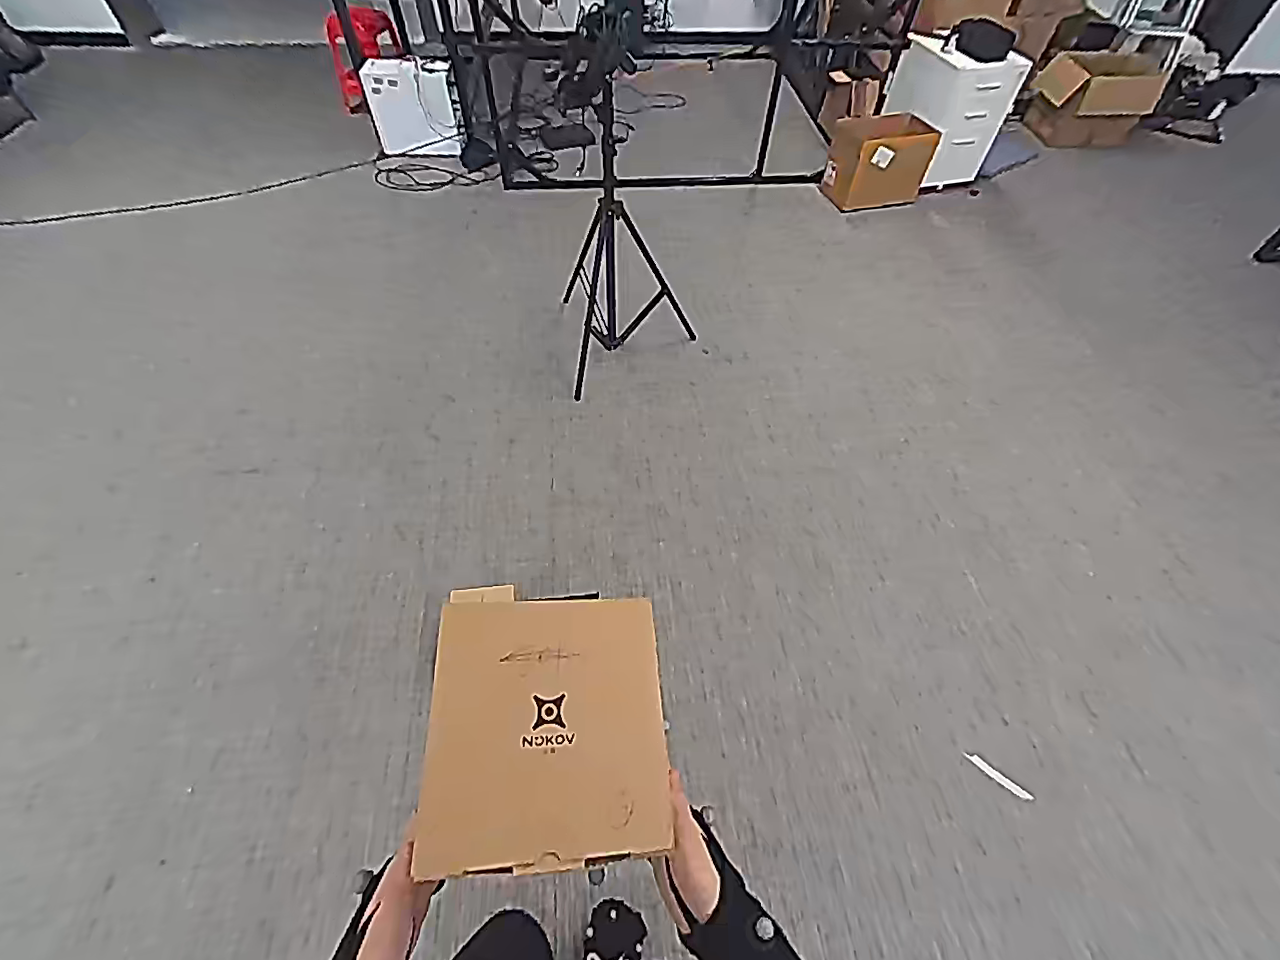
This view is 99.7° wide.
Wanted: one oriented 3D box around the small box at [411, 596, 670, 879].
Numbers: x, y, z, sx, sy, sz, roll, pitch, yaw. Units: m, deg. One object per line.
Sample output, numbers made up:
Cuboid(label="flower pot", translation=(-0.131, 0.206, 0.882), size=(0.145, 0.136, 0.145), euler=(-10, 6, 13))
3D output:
Cuboid(label="small box", translation=(-0.079, 0.211, 0.450), size=(0.168, 0.176, 0.179), euler=(0, 56, -11))

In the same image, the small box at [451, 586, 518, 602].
Cuboid(label="small box", translation=(-0.398, 0.401, 1.424), size=(0.168, 0.176, 0.179), euler=(-5, 54, -5))
